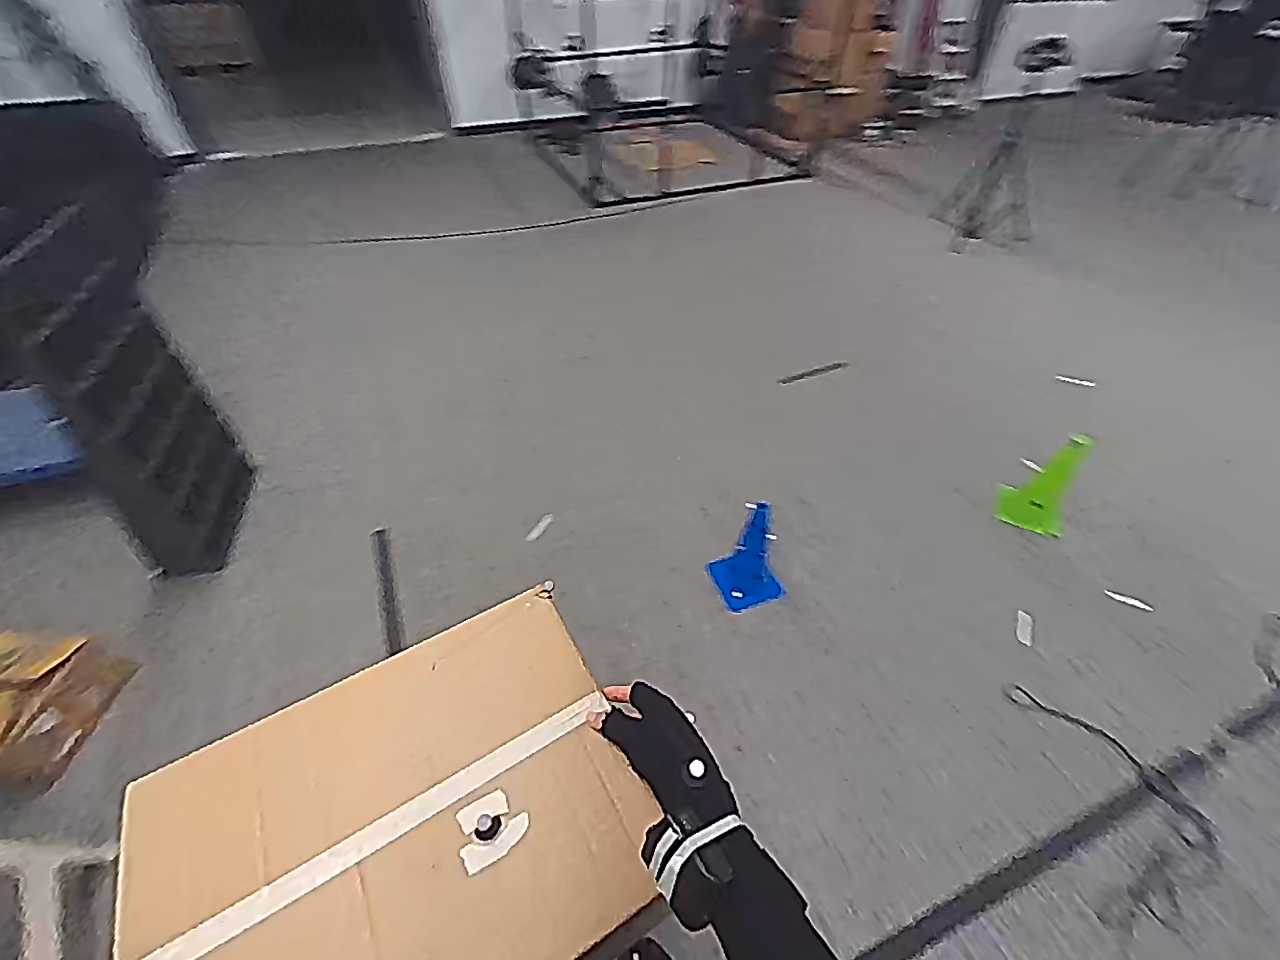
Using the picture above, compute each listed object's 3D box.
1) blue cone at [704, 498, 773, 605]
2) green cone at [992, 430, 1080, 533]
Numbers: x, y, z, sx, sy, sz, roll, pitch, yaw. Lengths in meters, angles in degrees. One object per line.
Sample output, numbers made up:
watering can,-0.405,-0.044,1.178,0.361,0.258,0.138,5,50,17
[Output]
blue cone,0.327,0.203,1.674,0.193,0.380,0.192,-14,46,-15
green cone,1.417,-0.022,1.882,0.202,0.368,0.200,21,48,21
